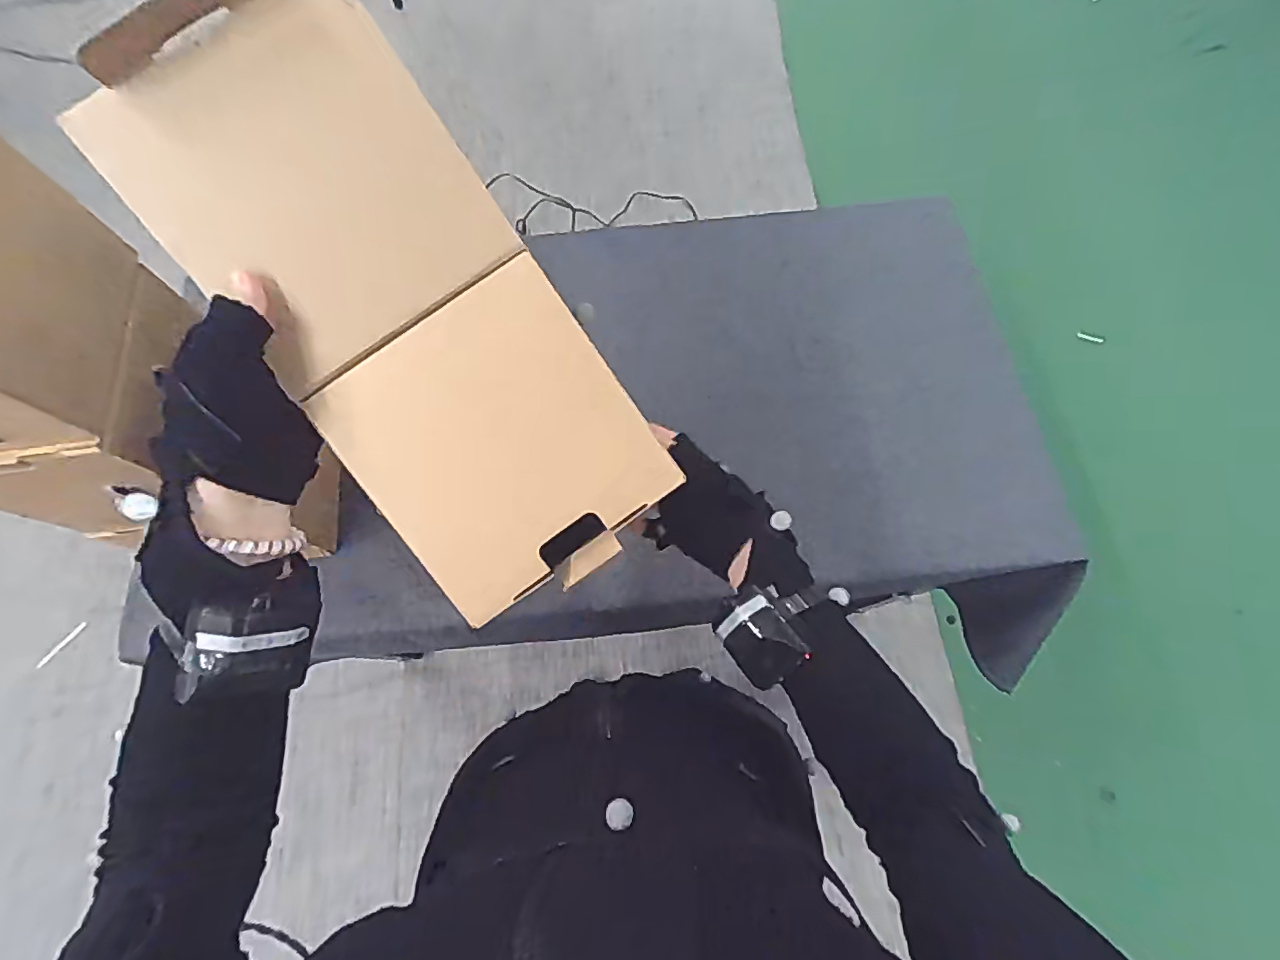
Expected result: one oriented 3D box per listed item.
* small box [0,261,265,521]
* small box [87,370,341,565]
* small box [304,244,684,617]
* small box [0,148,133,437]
[{"bbox_3d":[-0.484,-0.067,0.498,0.168,0.176,0.179,-7,70,-3],"label":"small box"},{"bbox_3d":[-0.485,-0.007,0.649,0.168,0.176,0.179,-8,70,-2],"label":"small box"},{"bbox_3d":[-0.094,-0.034,0.409,0.168,0.176,0.179,-35,98,-2],"label":"small box"},{"bbox_3d":[-0.486,-0.131,0.347,0.168,0.176,0.179,-8,70,-4],"label":"small box"}]
